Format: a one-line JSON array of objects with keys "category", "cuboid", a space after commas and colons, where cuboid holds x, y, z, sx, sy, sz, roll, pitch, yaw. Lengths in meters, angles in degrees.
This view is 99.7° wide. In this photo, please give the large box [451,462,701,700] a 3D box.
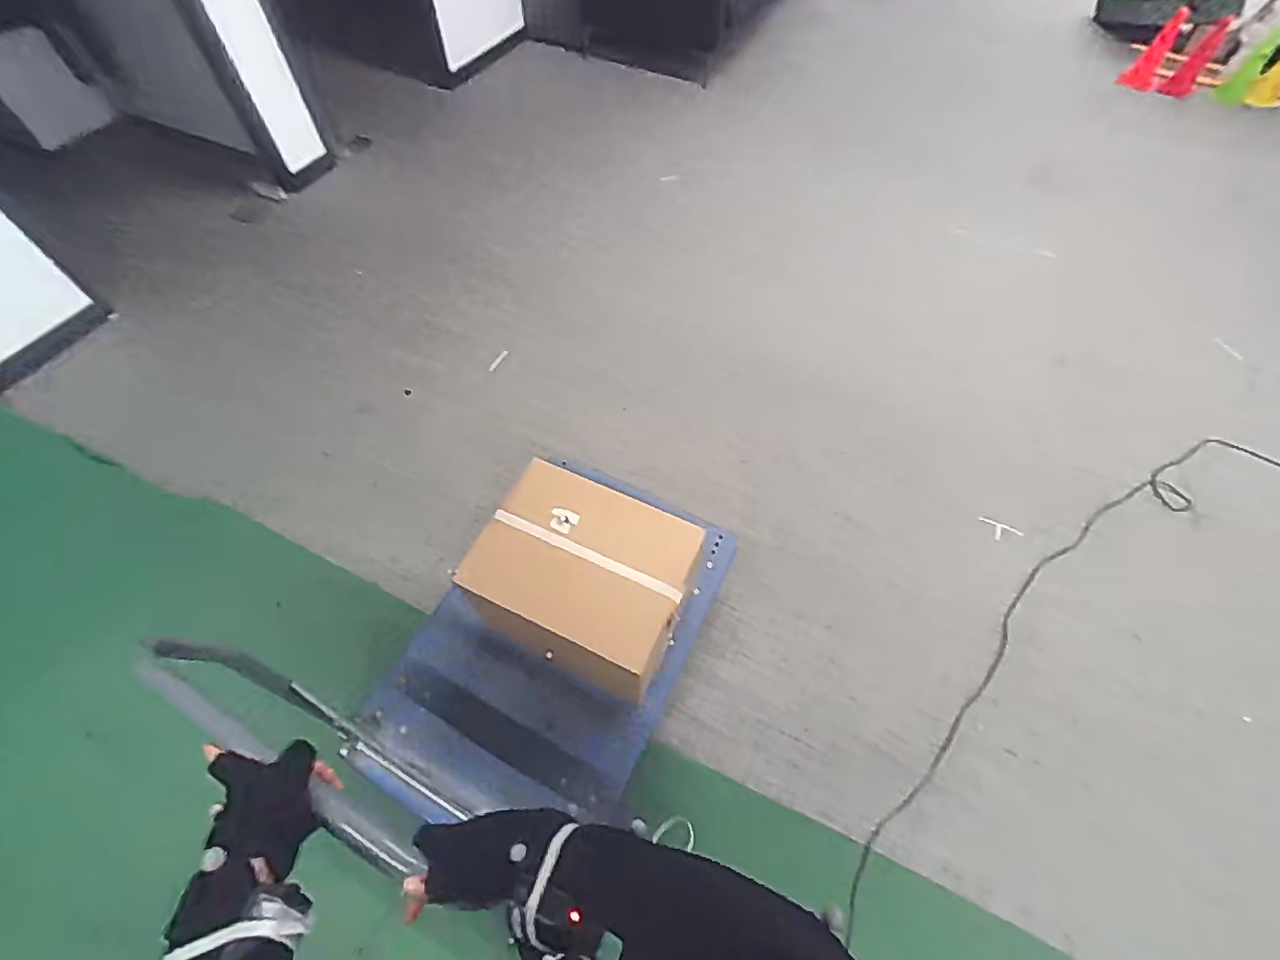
[{"category": "large box", "cuboid": [-0.115, 0.225, 1.177, 0.408, 0.320, 0.320, 22, 60, 14]}]
